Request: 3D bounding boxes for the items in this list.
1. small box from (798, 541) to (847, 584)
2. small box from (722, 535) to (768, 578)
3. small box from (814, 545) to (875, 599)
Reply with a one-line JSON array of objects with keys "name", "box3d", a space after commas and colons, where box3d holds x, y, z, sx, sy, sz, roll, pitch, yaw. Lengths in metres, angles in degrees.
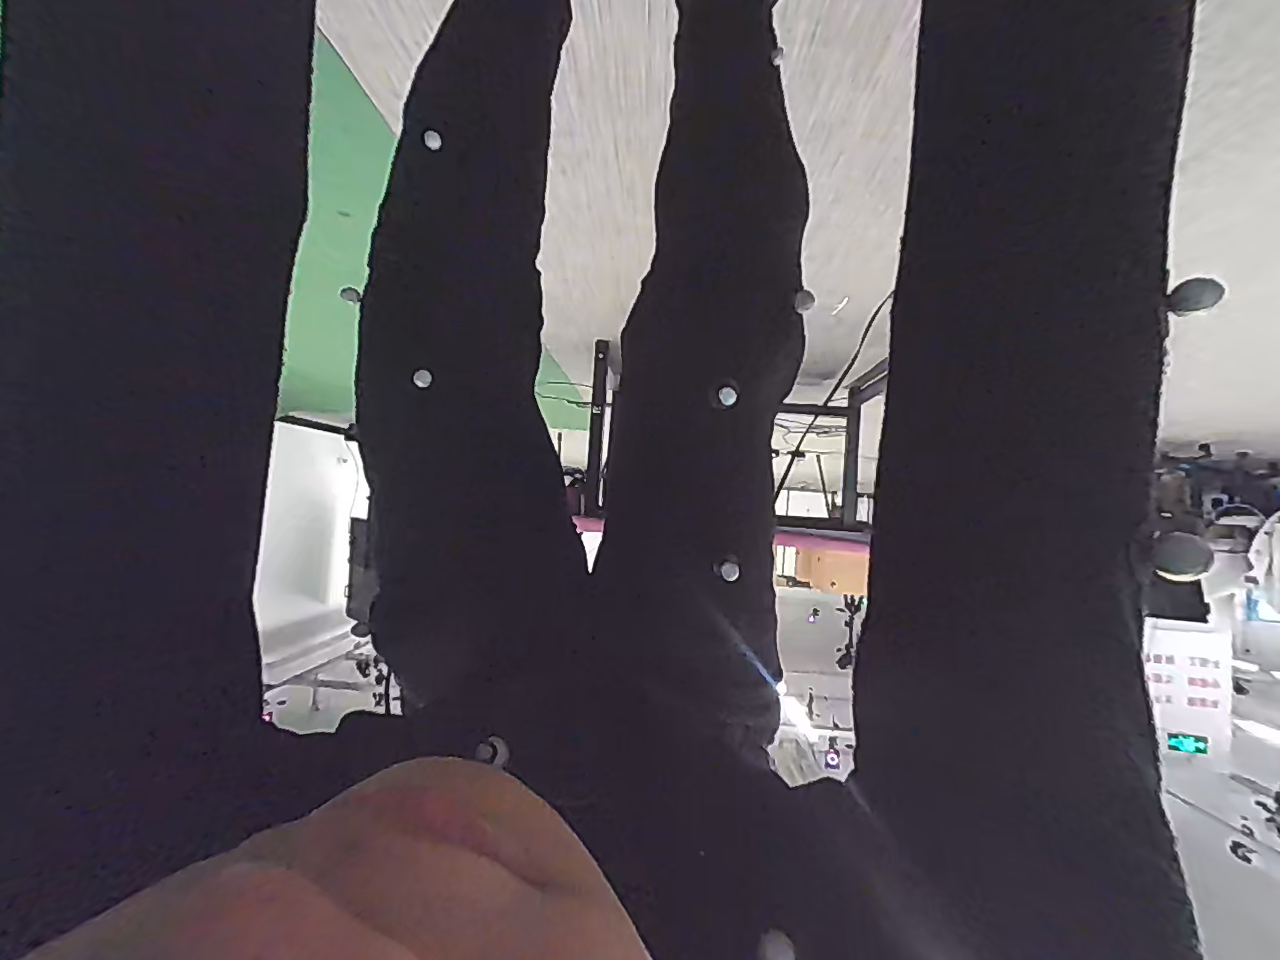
[{"name": "small box", "box3d": [0.793, 0.359, 2.347, 0.179, 0.176, 0.168, 5, 177, 7]}, {"name": "small box", "box3d": [0.457, 0.331, 2.371, 0.179, 0.176, 0.168, 4, 178, 5]}, {"name": "small box", "box3d": [0.776, 0.344, 2.057, 0.179, 0.176, 0.168, 5, 179, 3]}]
